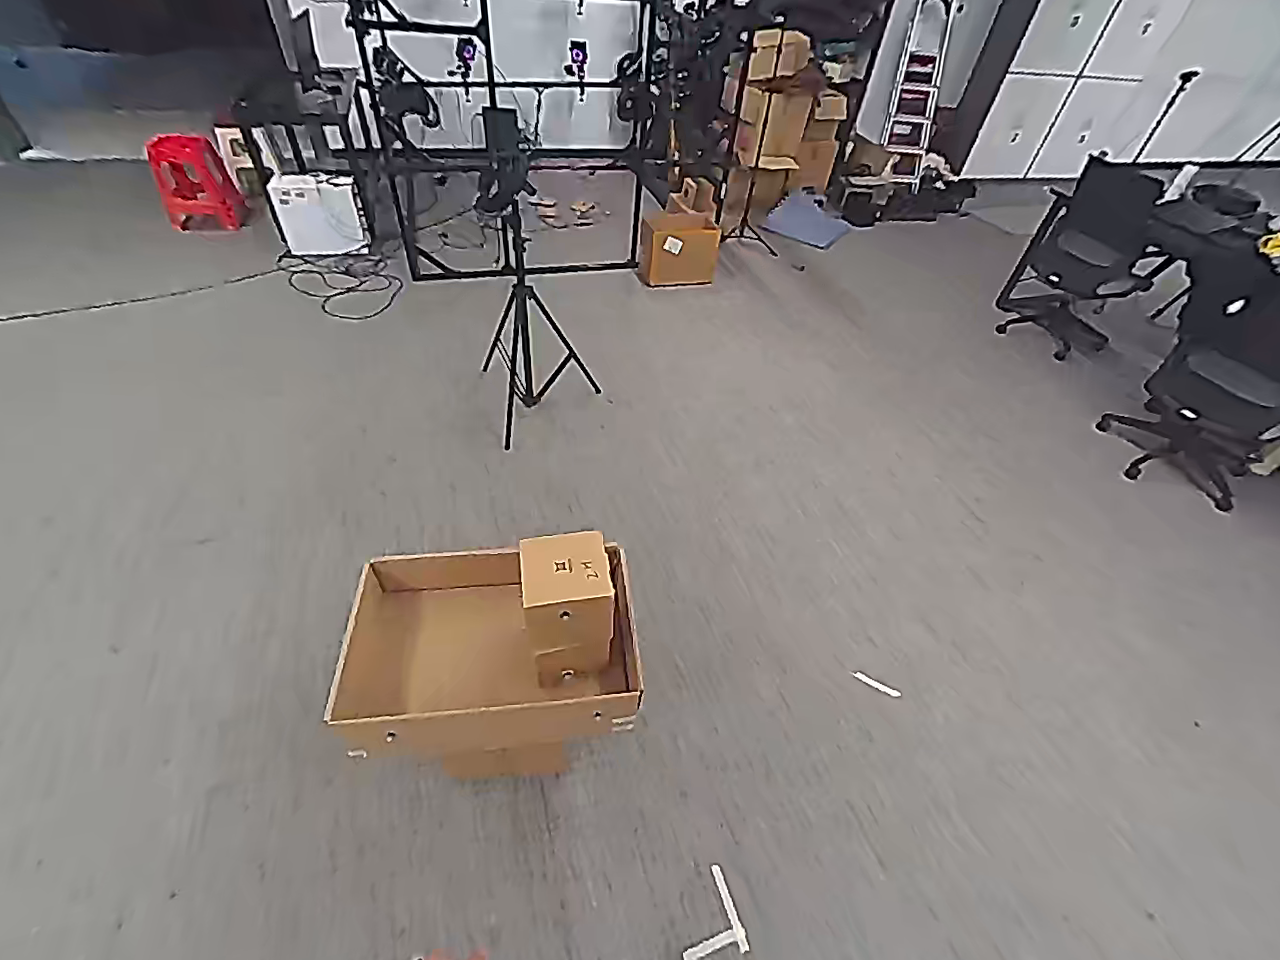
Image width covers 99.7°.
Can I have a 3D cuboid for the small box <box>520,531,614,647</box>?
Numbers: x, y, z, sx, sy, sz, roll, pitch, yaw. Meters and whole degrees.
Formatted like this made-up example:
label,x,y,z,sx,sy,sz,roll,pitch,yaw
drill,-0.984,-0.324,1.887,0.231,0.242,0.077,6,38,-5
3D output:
label,x,y,z,sx,sy,sz,roll,pitch,yaw
small box,-0.150,0.229,1.124,0.179,0.176,0.168,-5,46,-10
